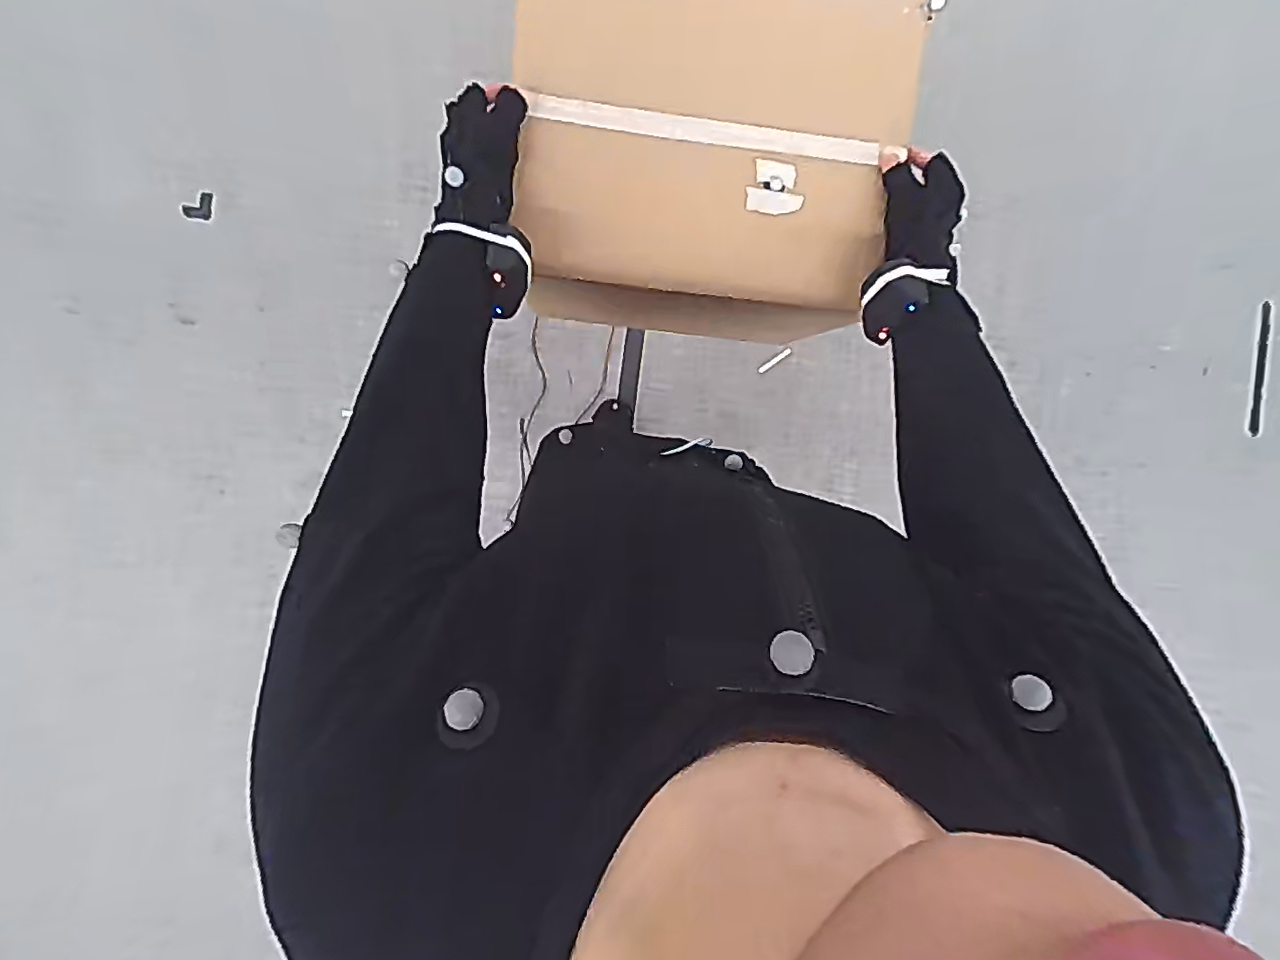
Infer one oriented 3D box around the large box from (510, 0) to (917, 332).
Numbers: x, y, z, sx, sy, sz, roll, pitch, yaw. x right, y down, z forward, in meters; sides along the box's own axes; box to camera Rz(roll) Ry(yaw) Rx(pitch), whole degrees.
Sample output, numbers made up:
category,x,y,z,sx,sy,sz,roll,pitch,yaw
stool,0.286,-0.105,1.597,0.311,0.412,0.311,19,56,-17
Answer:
category,x,y,z,sx,sy,sz,roll,pitch,yaw
large box,0.059,-0.384,0.698,0.408,0.320,0.320,5,99,-6
